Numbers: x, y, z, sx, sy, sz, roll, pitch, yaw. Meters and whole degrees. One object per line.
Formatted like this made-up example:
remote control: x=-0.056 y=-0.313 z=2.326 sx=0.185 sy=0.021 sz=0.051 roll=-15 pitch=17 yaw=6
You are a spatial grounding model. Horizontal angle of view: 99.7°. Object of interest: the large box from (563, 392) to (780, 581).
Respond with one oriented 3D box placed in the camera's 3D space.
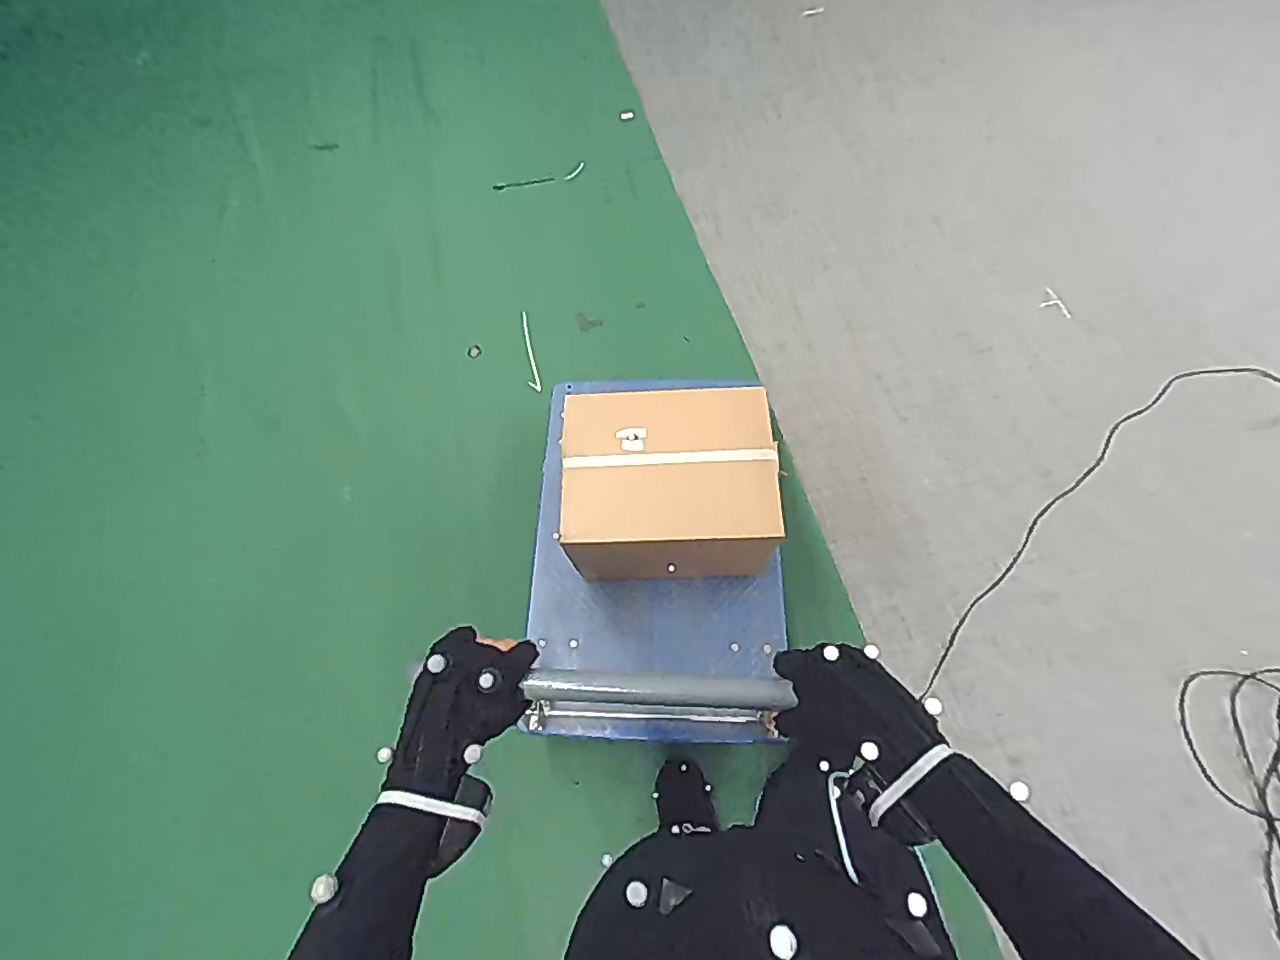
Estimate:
large box: x=0.062 y=0.032 z=1.175 sx=0.408 sy=0.320 sz=0.320 roll=-3 pitch=67 yaw=3
